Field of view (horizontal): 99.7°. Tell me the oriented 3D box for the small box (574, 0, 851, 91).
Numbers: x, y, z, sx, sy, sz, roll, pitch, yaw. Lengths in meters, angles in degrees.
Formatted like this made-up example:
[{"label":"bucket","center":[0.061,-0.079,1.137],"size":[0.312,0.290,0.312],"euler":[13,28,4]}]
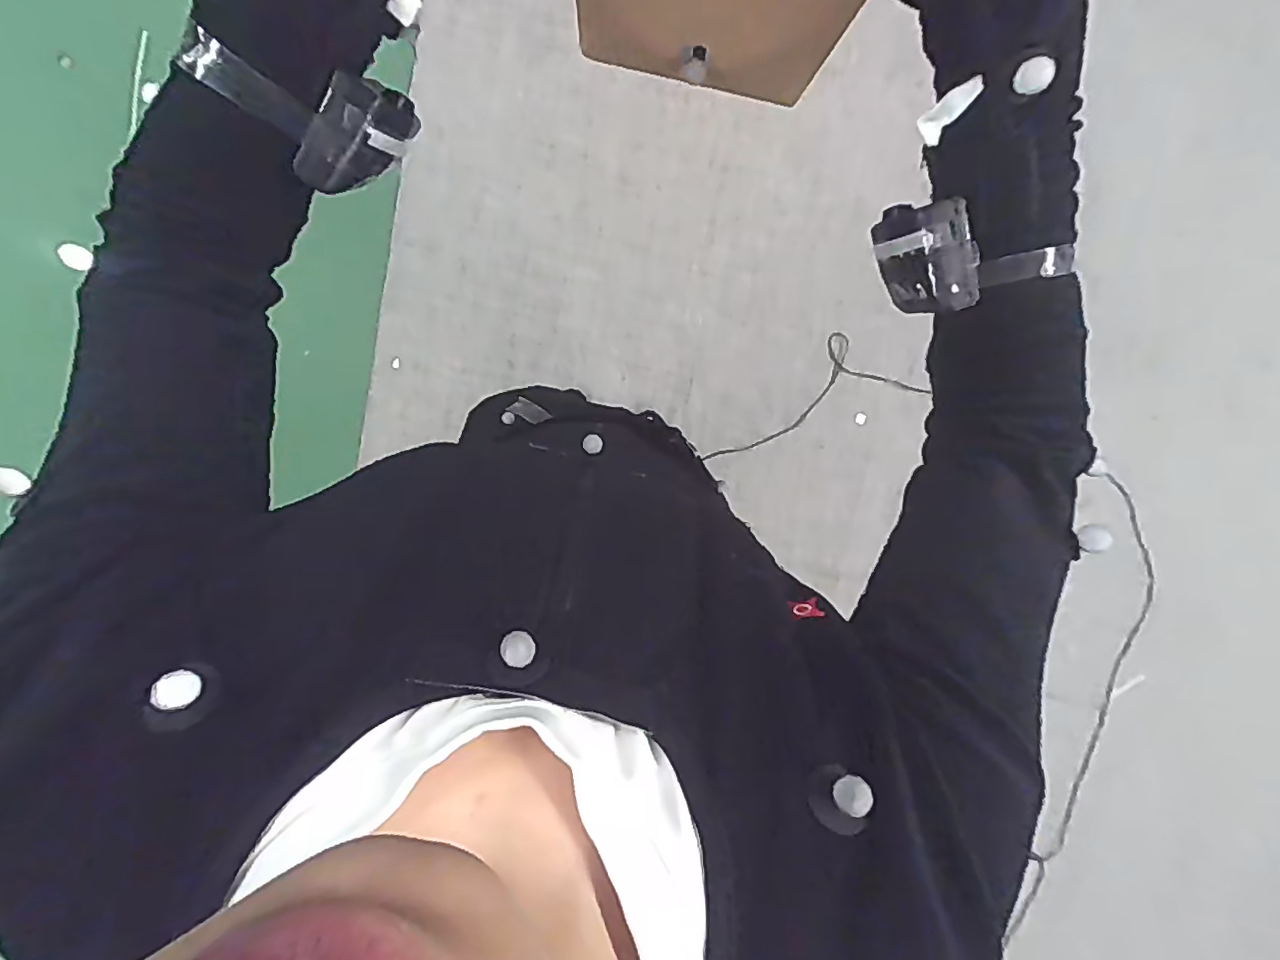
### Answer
[{"label":"small box","center":[0.057,-0.382,0.334],"size":[0.179,0.176,0.168],"euler":[9,99,-6]}]
